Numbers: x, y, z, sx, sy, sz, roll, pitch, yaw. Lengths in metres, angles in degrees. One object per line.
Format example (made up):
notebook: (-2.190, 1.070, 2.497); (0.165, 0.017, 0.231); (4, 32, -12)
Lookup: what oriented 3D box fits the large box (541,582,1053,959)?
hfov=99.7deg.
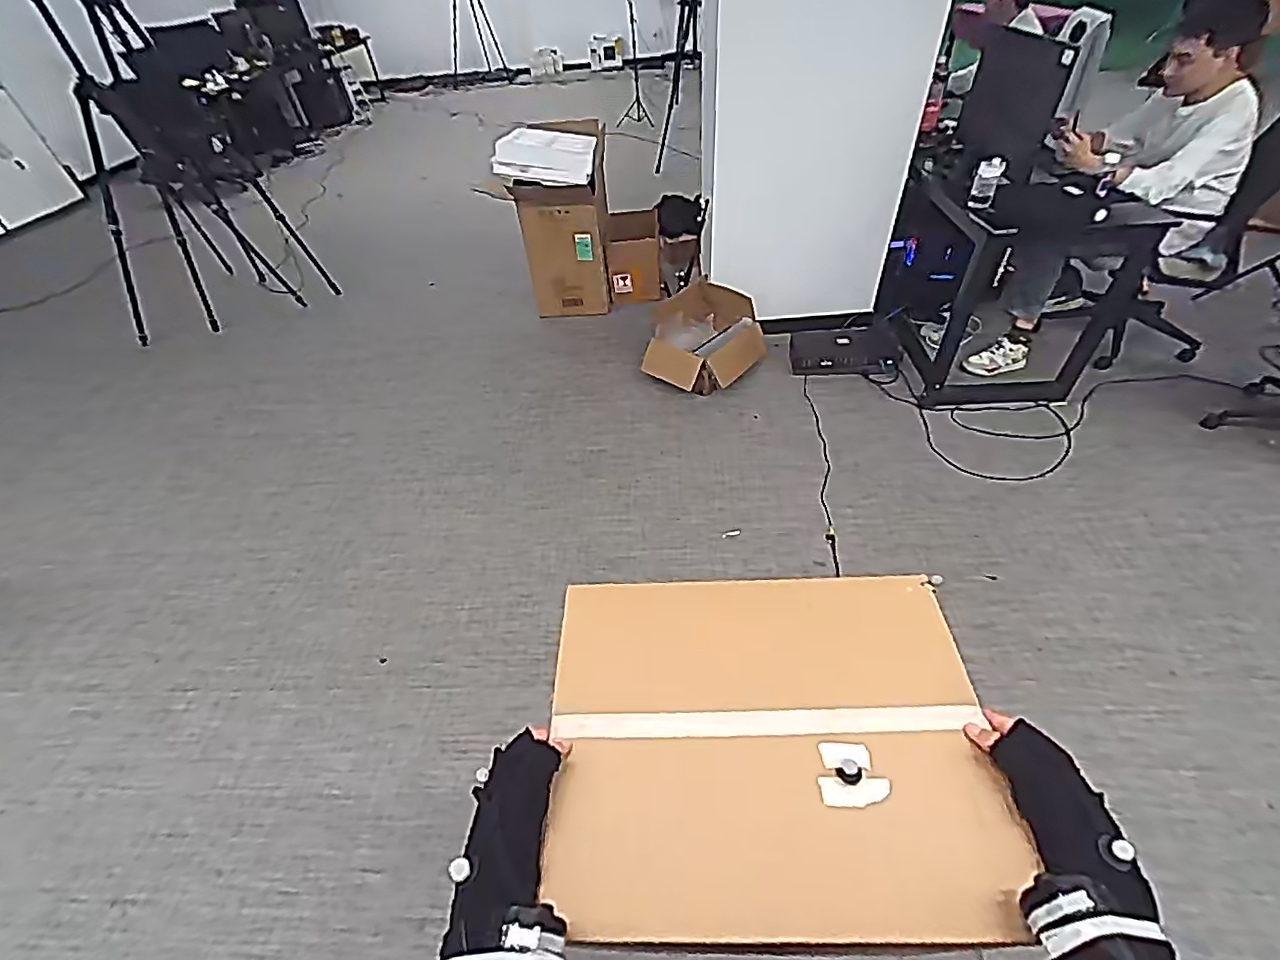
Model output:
large box: (0.124, 0.337, 0.624); (0.408, 0.320, 0.320); (-2, 48, 2)
